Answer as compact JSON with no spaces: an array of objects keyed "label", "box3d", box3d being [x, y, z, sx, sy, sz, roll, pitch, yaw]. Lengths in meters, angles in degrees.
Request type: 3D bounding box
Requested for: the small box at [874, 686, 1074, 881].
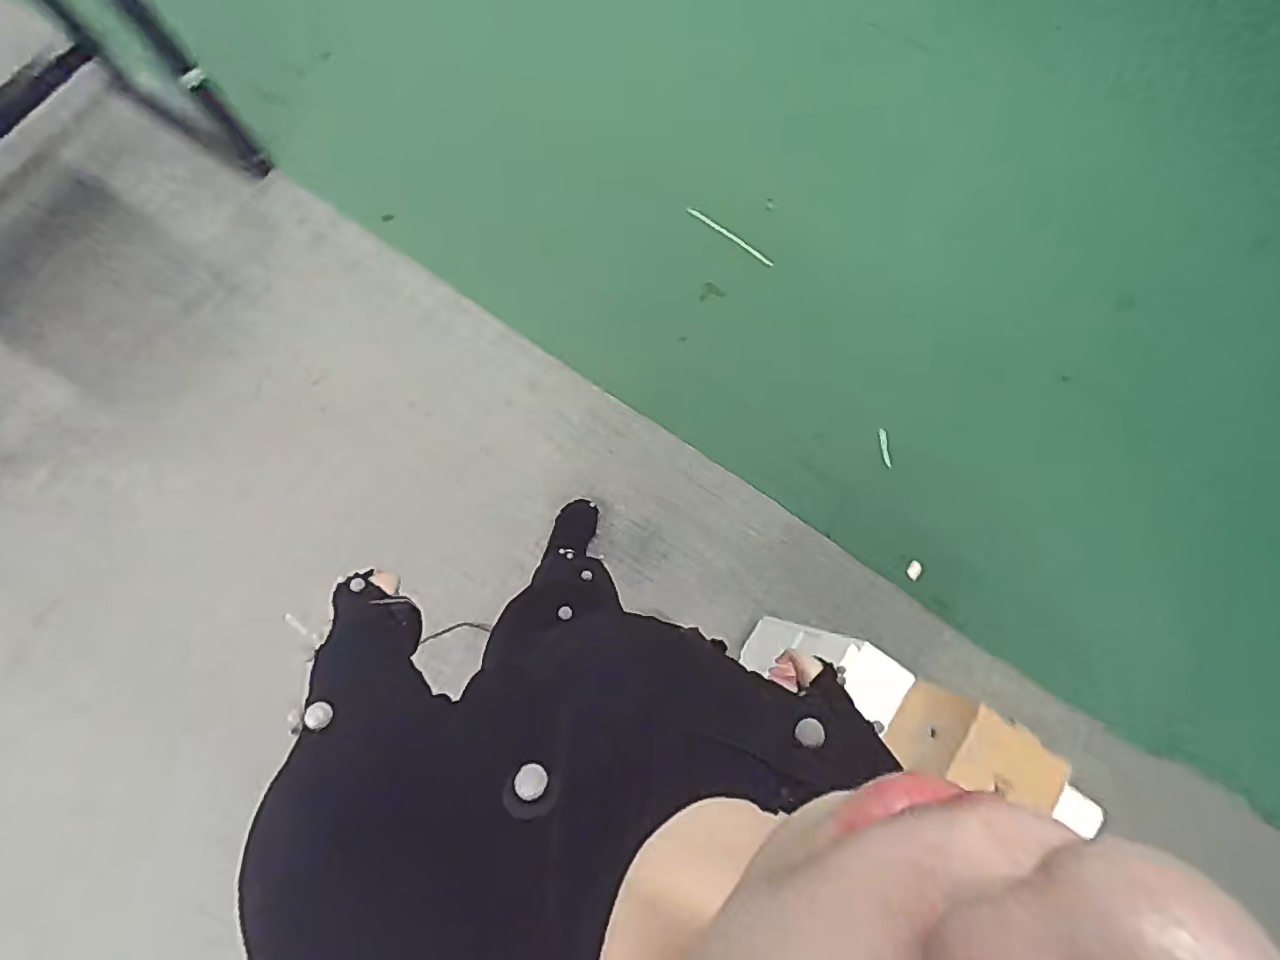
[{"label":"small box","box3d":[0.499,0.447,0.835,0.168,0.176,0.179,35,79,1]}]
